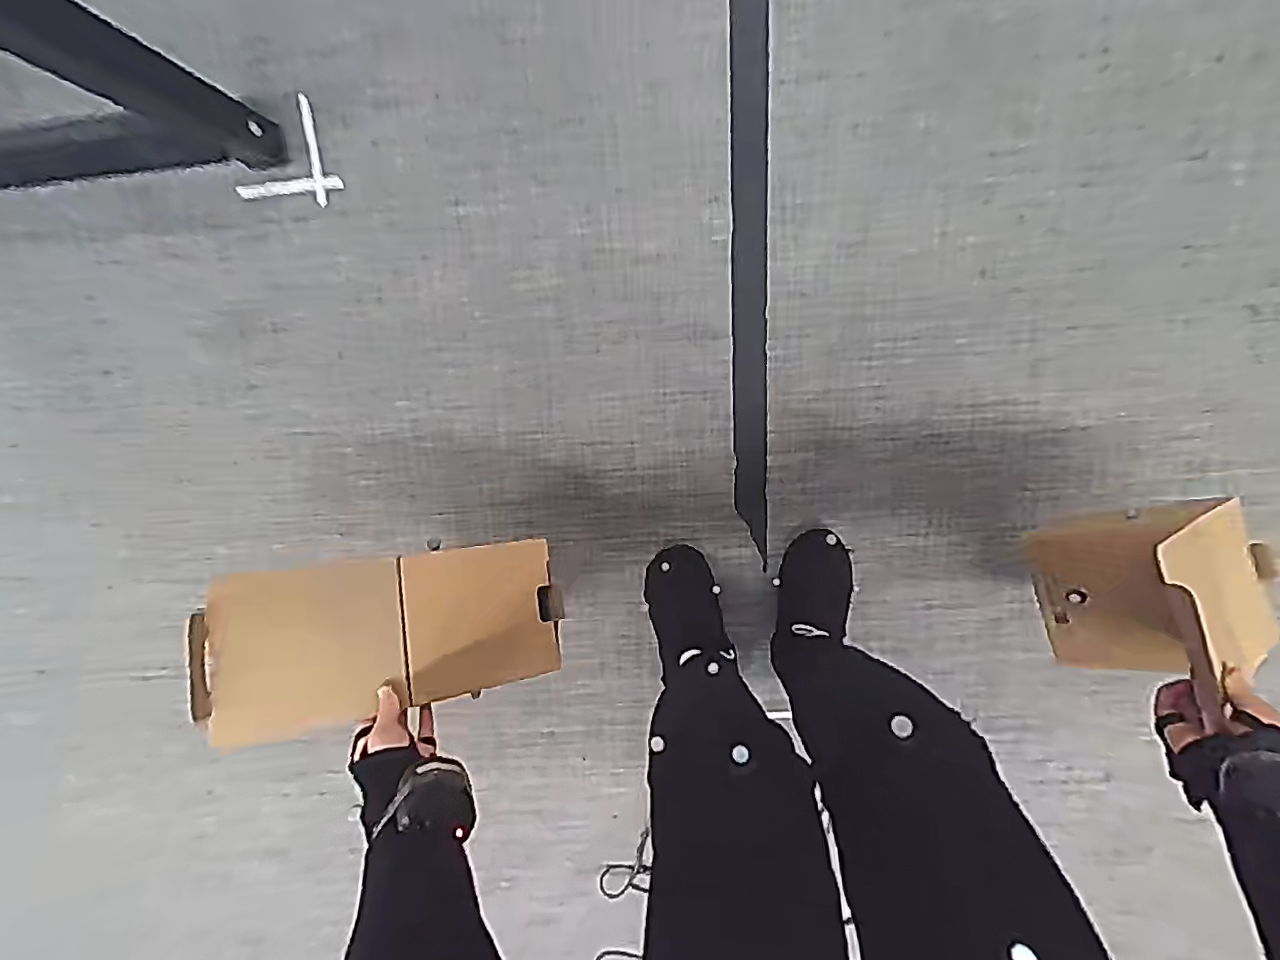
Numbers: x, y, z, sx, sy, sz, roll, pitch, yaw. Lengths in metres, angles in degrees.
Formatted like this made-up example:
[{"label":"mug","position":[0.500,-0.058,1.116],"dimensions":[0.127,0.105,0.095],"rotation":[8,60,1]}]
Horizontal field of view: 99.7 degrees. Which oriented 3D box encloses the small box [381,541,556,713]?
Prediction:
[{"label":"small box","position":[-0.226,0.177,0.685],"dimensions":[0.179,0.176,0.168],"rotation":[-6,81,-30]}]
